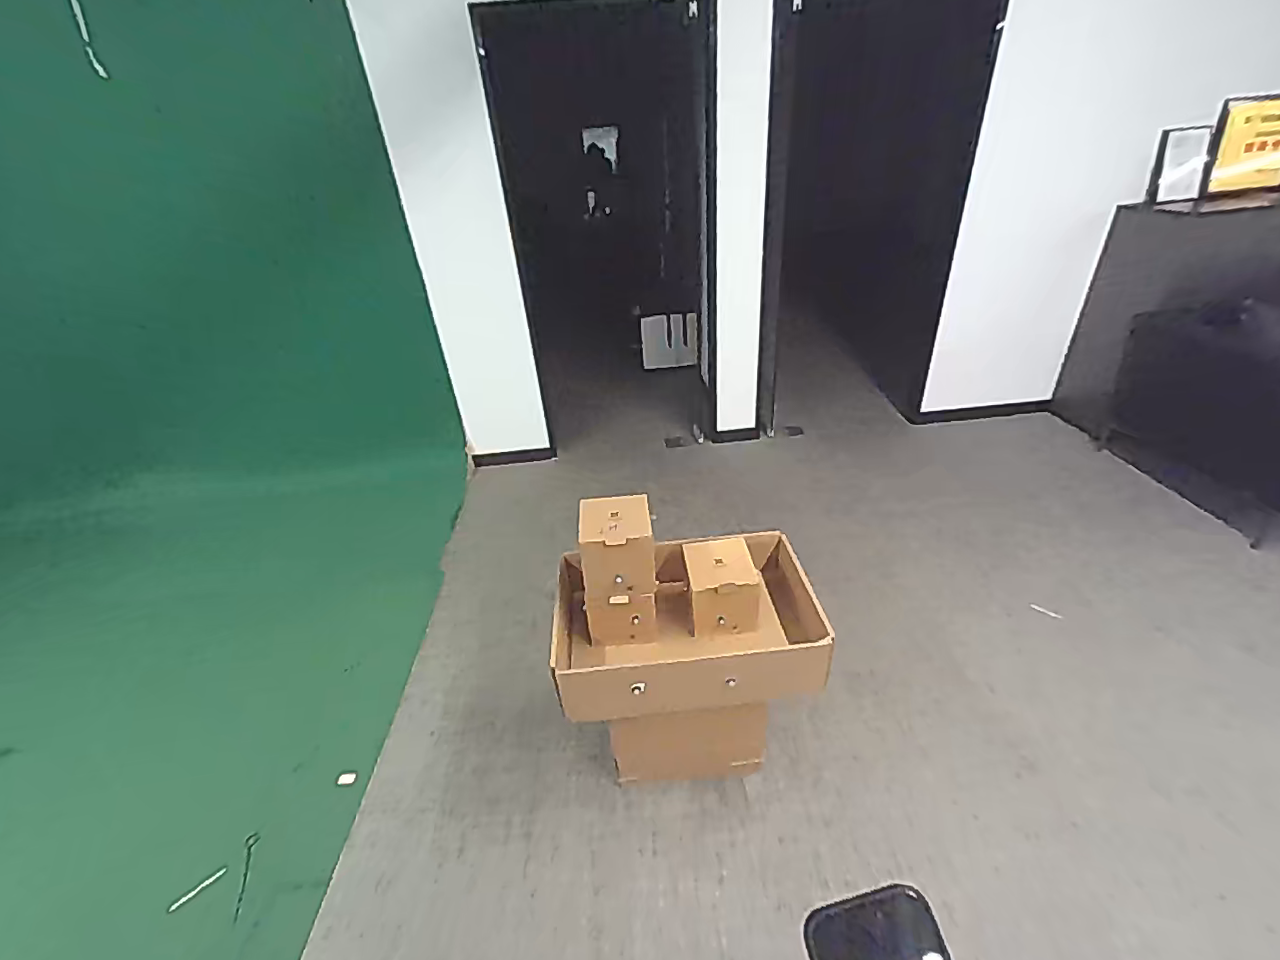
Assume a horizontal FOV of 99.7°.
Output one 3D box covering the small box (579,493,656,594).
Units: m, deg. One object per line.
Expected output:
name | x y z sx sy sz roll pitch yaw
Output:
small box | -0.052 0.151 1.299 0.168 0.176 0.179 -6 32 -1

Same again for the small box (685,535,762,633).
small box | 0.208 0.266 1.387 0.168 0.176 0.179 -7 33 0
